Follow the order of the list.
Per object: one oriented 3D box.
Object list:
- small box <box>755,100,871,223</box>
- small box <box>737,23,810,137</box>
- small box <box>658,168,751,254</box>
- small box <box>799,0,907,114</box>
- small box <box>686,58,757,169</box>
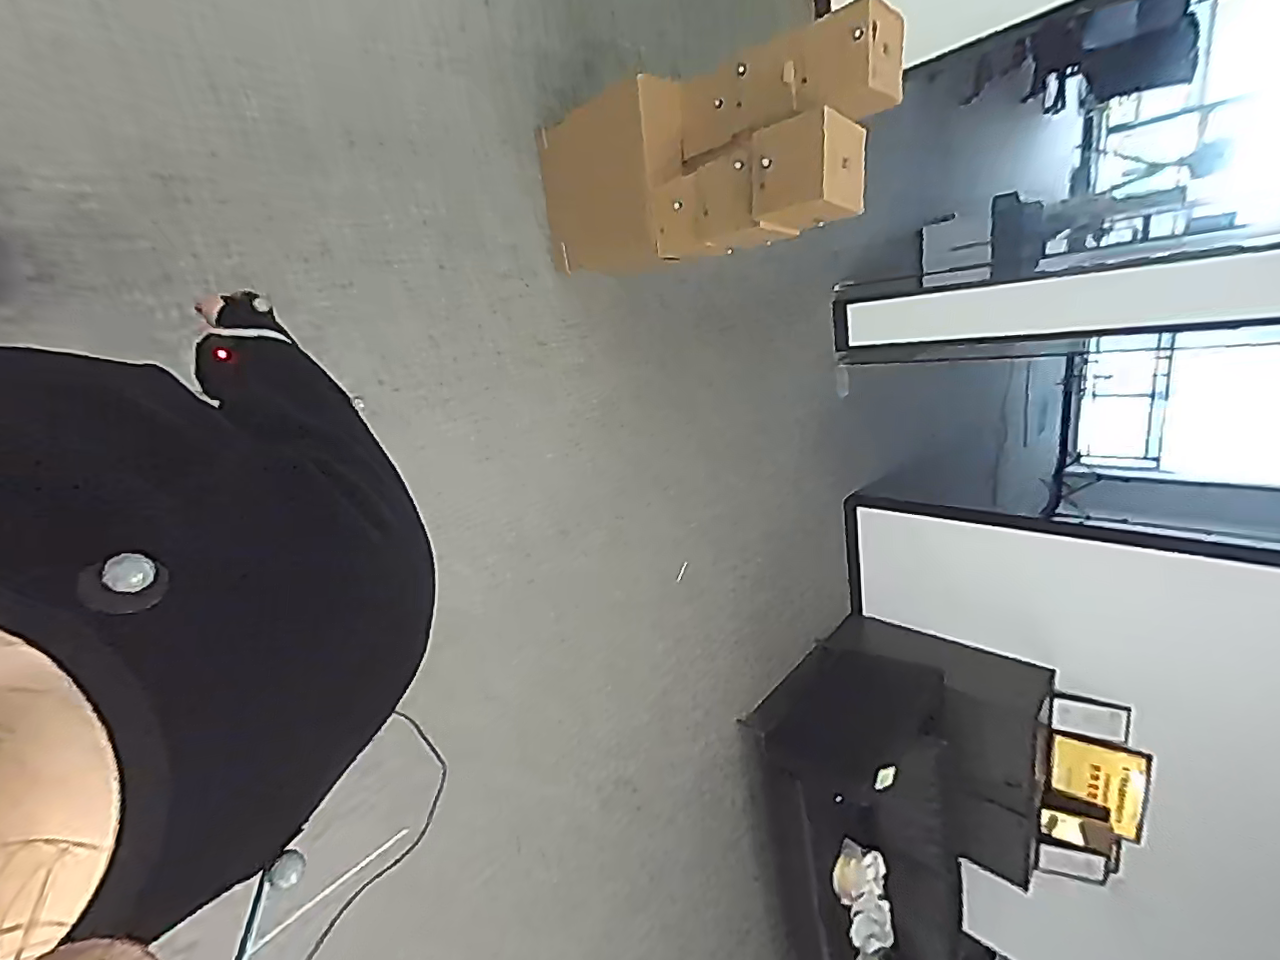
[{"bbox_3d":[0.359,-0.650,1.130,0.179,0.176,0.168,-13,105,-41],"label":"small box"},{"bbox_3d":[0.349,-0.934,1.302,0.179,0.176,0.168,-11,104,-44],"label":"small box"},{"bbox_3d":[0.161,-0.685,1.391,0.179,0.176,0.168,-23,112,-39],"label":"small box"},{"bbox_3d":[0.467,-0.921,1.187,0.179,0.176,0.168,-20,109,-41],"label":"small box"},{"bbox_3d":[0.234,-0.948,1.419,0.168,0.176,0.179,-13,107,-42],"label":"small box"}]
